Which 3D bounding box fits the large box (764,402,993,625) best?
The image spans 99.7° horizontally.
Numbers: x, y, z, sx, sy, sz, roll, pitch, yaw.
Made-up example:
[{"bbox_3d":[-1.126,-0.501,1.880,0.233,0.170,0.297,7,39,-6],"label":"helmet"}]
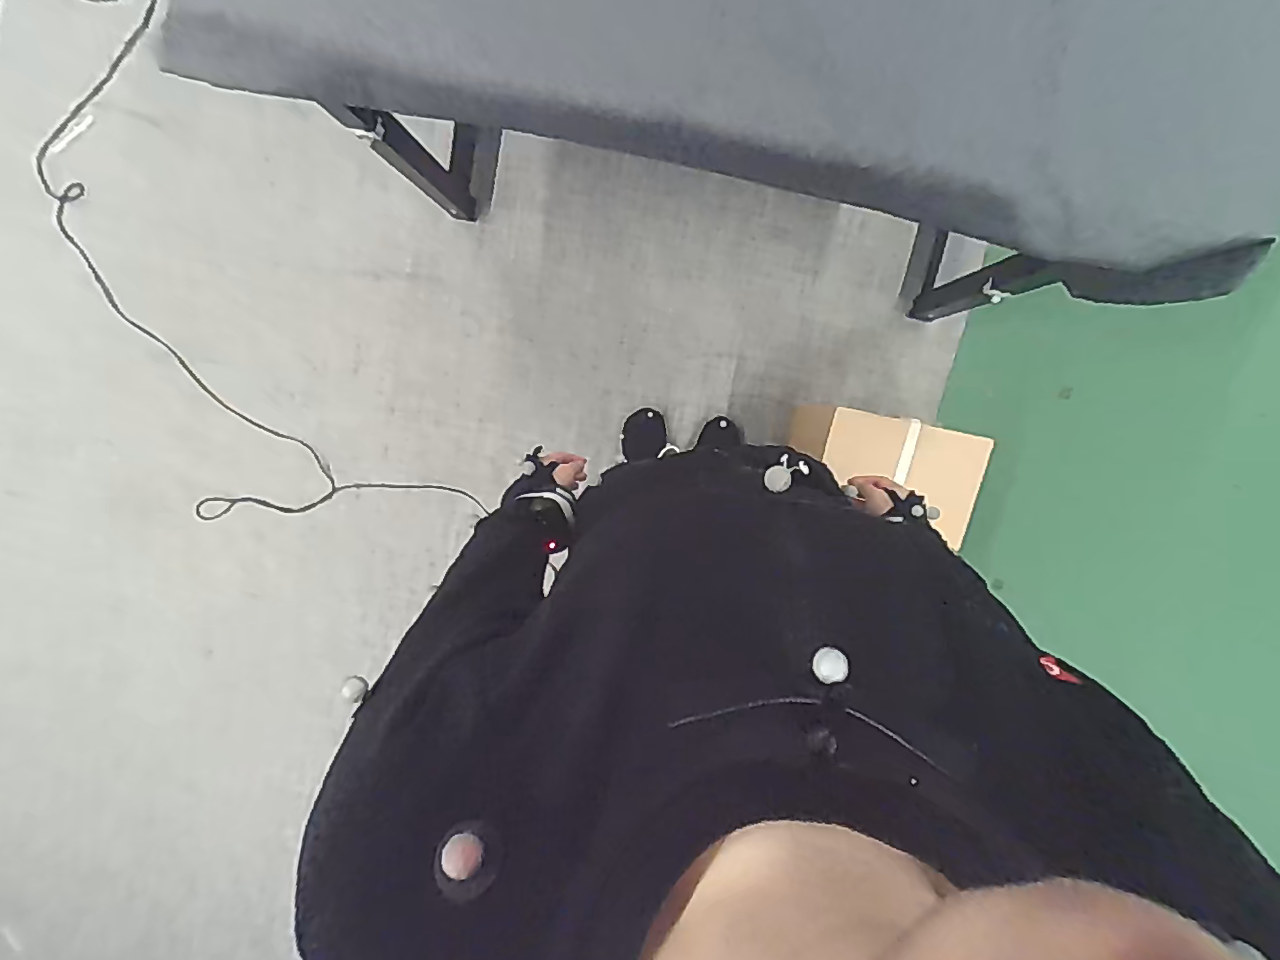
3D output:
[{"bbox_3d":[0.495,0.050,1.207,0.320,0.320,0.408,12,99,1],"label":"large box"}]
